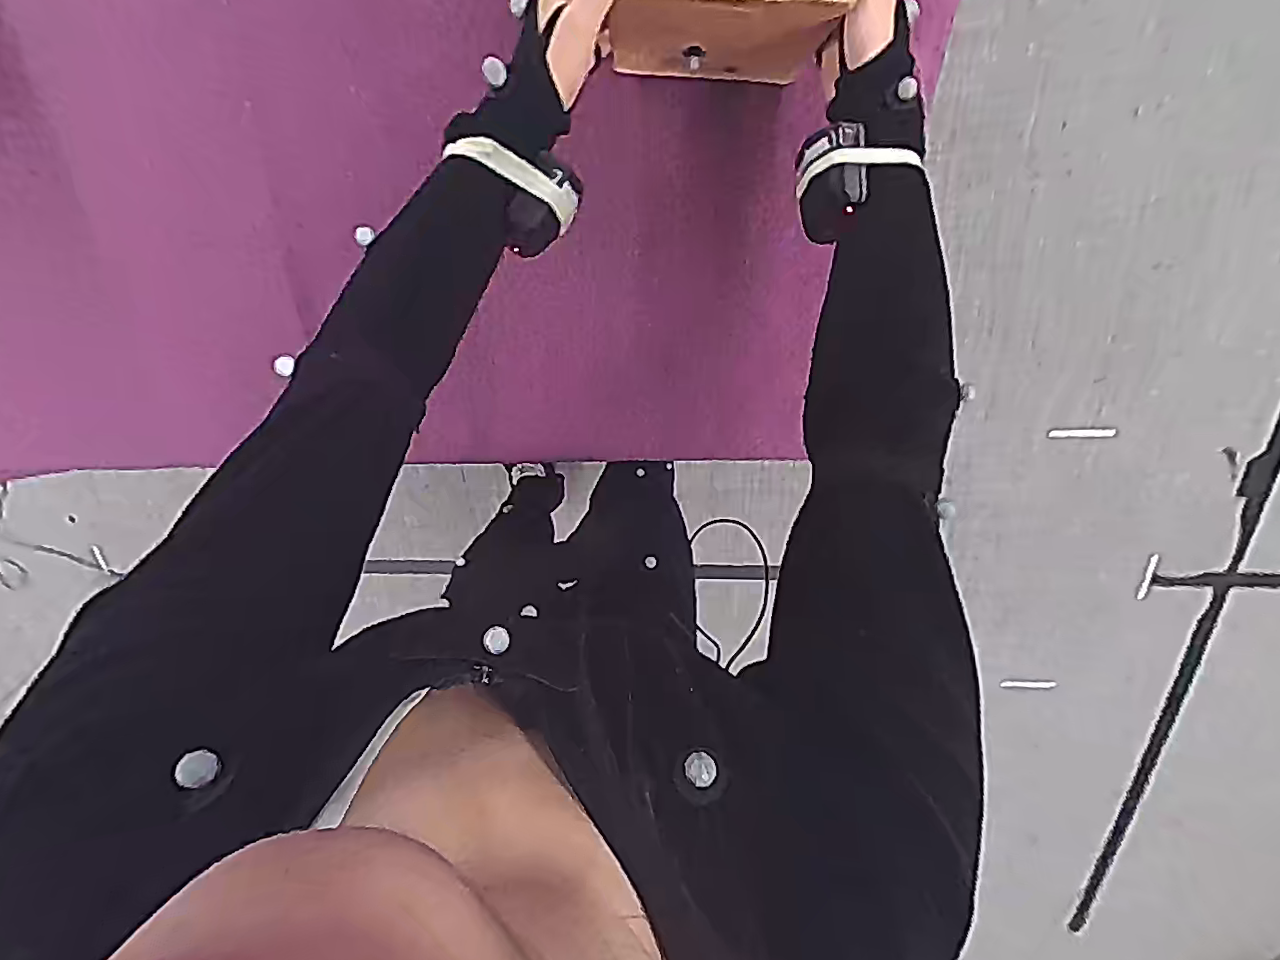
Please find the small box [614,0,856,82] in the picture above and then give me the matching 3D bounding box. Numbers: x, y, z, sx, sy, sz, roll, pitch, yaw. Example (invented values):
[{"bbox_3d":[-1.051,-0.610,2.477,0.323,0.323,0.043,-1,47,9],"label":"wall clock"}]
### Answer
[{"bbox_3d":[0.066,-0.425,0.394,0.168,0.176,0.179,3,113,-1],"label":"small box"}]
